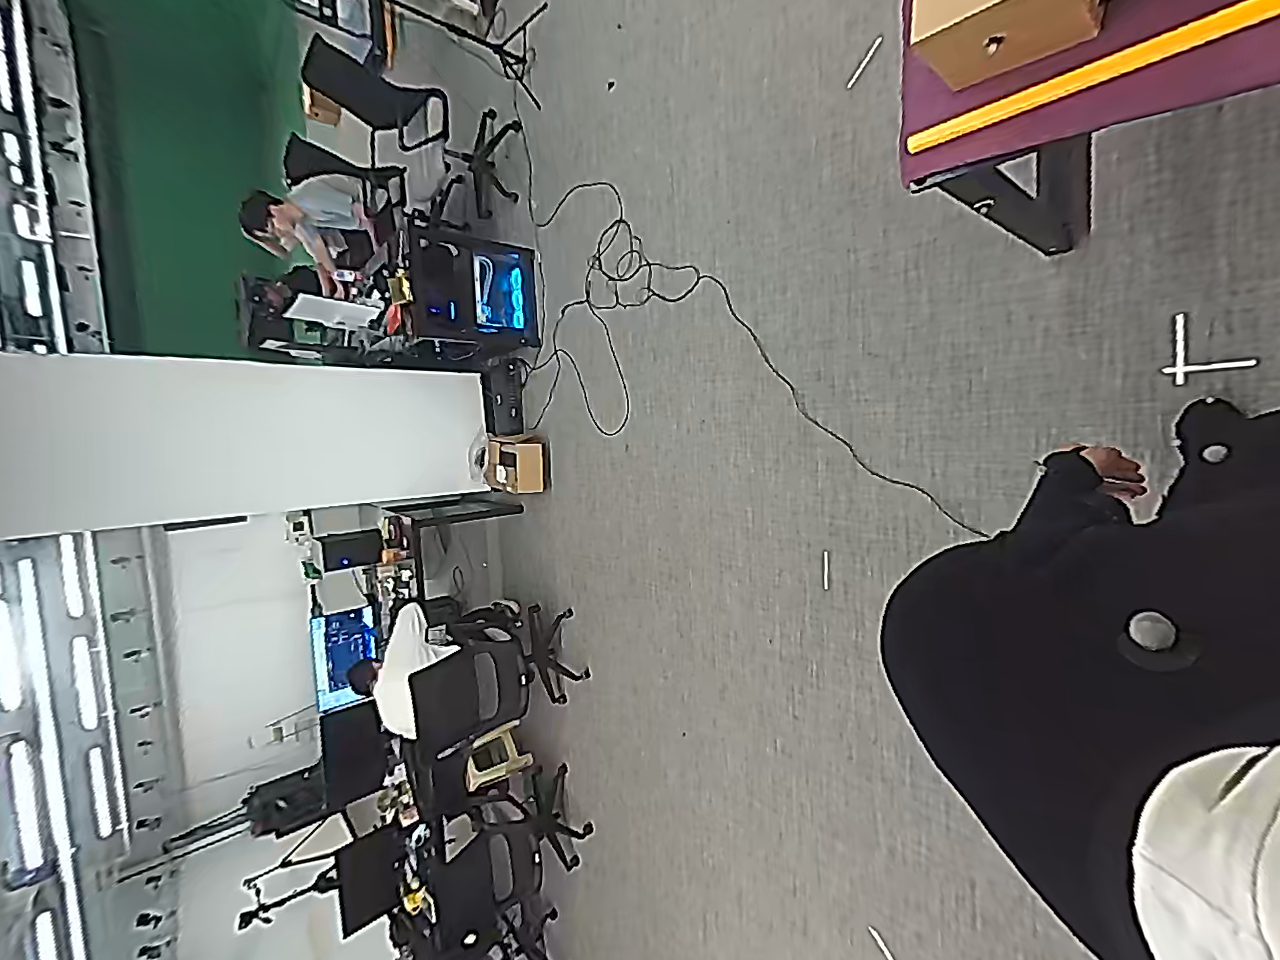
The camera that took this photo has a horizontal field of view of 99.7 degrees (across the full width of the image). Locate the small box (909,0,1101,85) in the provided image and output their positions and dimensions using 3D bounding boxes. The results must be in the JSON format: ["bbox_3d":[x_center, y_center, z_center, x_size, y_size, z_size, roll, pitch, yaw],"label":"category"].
[{"bbox_3d":[0.474,-0.654,0.691,0.179,0.176,0.168,11,104,49],"label":"small box"}]
